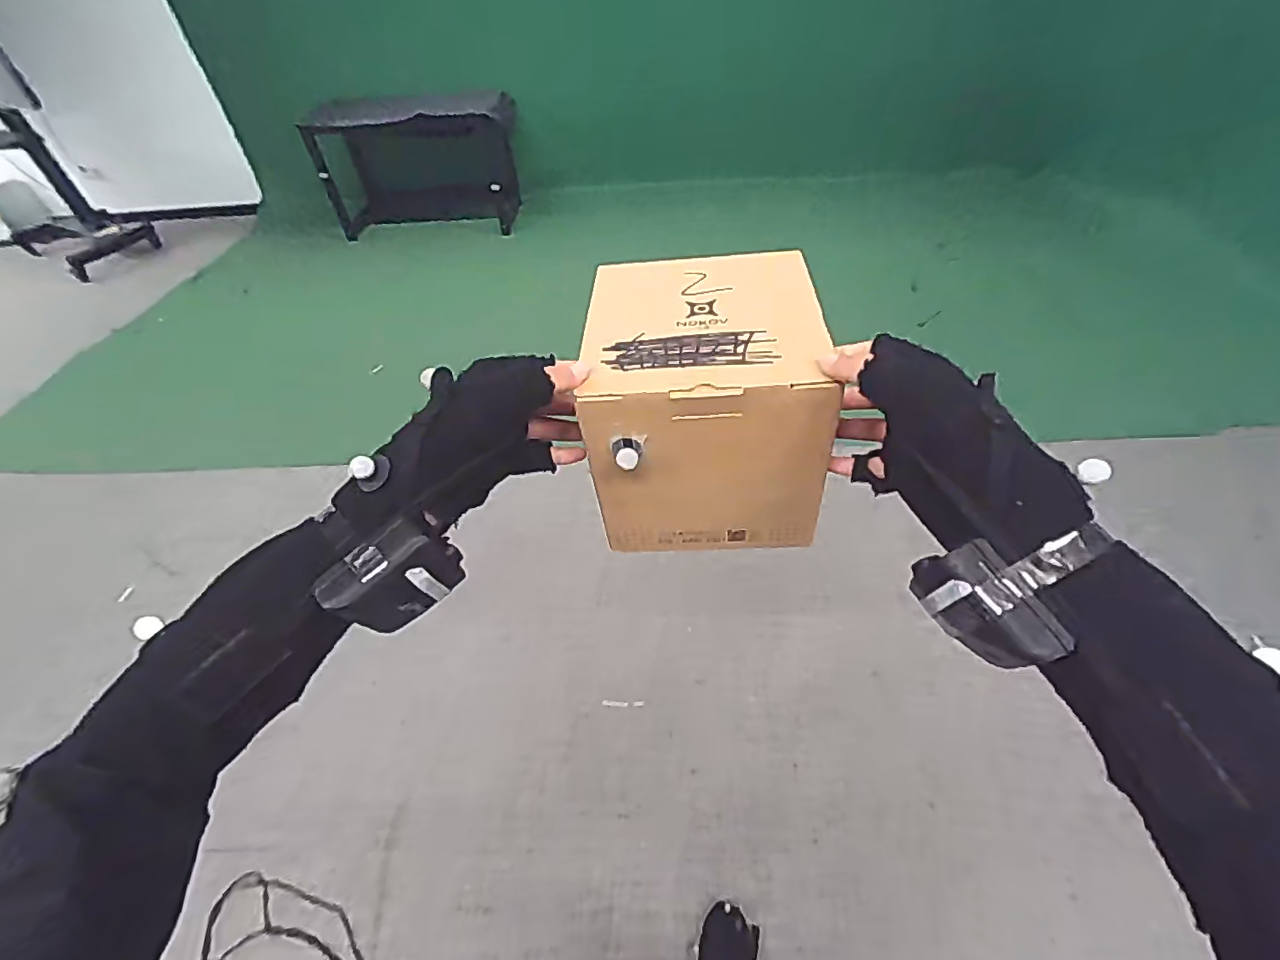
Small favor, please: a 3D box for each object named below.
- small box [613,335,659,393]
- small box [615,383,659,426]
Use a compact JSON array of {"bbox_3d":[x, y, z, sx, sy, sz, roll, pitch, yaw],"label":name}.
[{"bbox_3d":[-0.013,-0.464,2.172,0.168,0.176,0.179,1,45,6],"label":"small box"},{"bbox_3d":[-0.008,-0.340,2.278,0.168,0.176,0.179,0,44,6],"label":"small box"}]
